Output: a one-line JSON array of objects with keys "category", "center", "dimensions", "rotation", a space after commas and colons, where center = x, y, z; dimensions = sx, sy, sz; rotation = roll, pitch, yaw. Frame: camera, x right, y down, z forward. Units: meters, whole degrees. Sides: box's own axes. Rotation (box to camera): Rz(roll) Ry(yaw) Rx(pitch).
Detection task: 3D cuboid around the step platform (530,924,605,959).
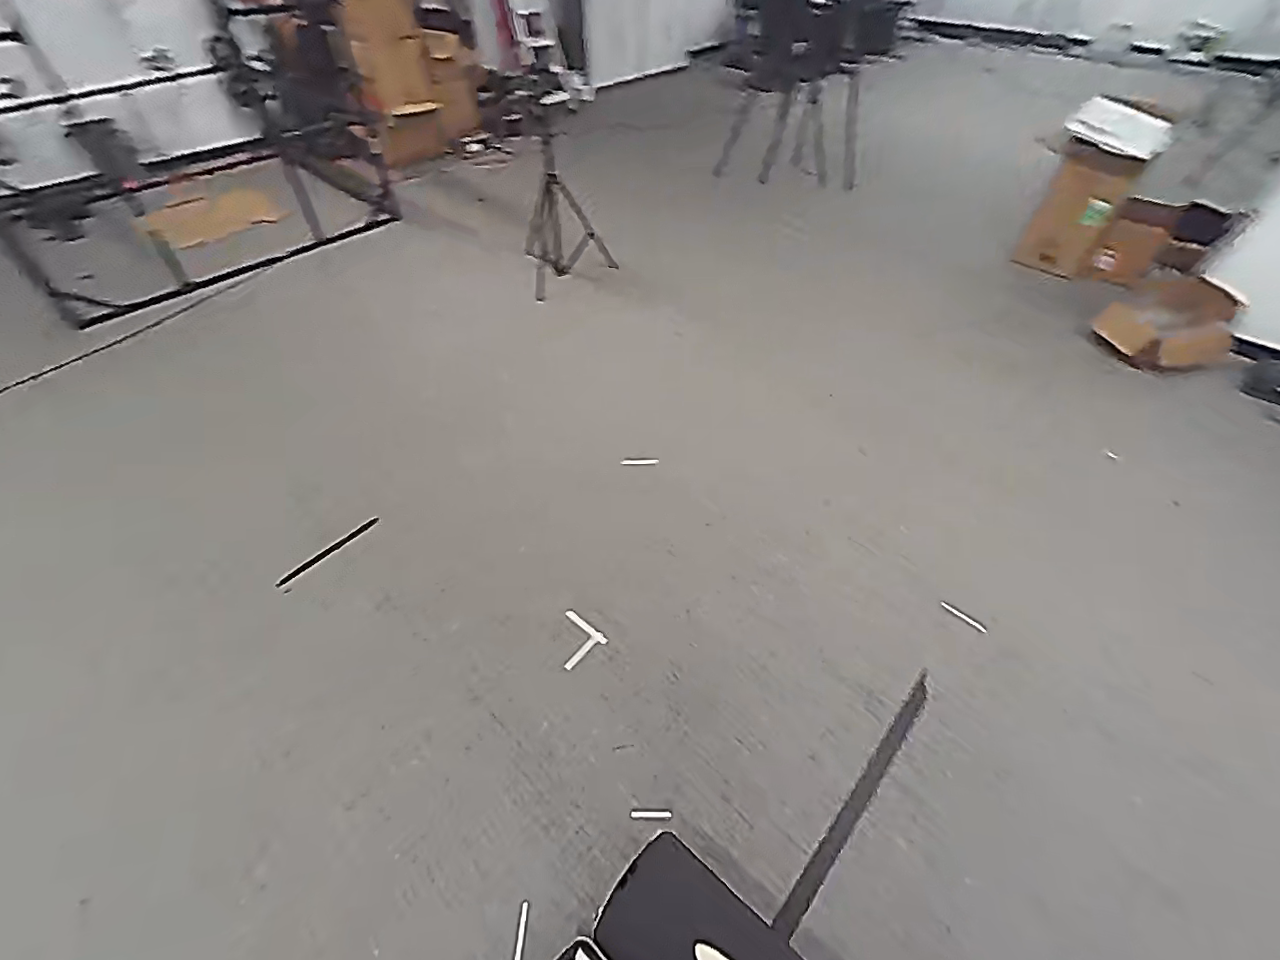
[{"category": "step platform", "center": [-0.005, 1.232, 1.013], "dimensions": [0.684, 0.204, 0.286], "rotation": [32, 55, 27]}]
